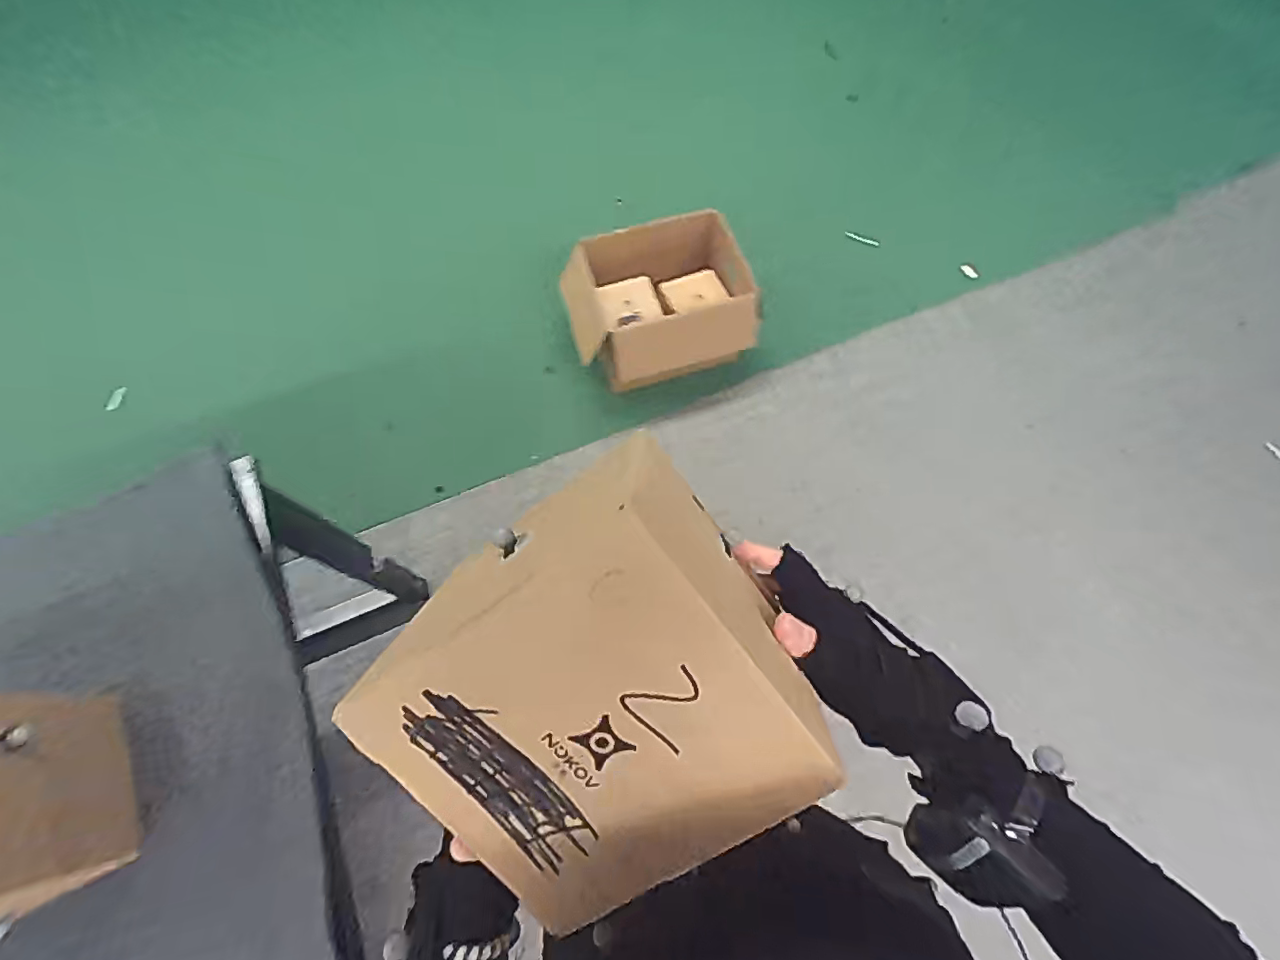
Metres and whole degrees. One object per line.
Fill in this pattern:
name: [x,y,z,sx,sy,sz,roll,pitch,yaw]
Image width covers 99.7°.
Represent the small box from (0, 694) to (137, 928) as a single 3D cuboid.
small box: [-0.624,0.319,0.497,0.168,0.176,0.179,-25,71,-11]
